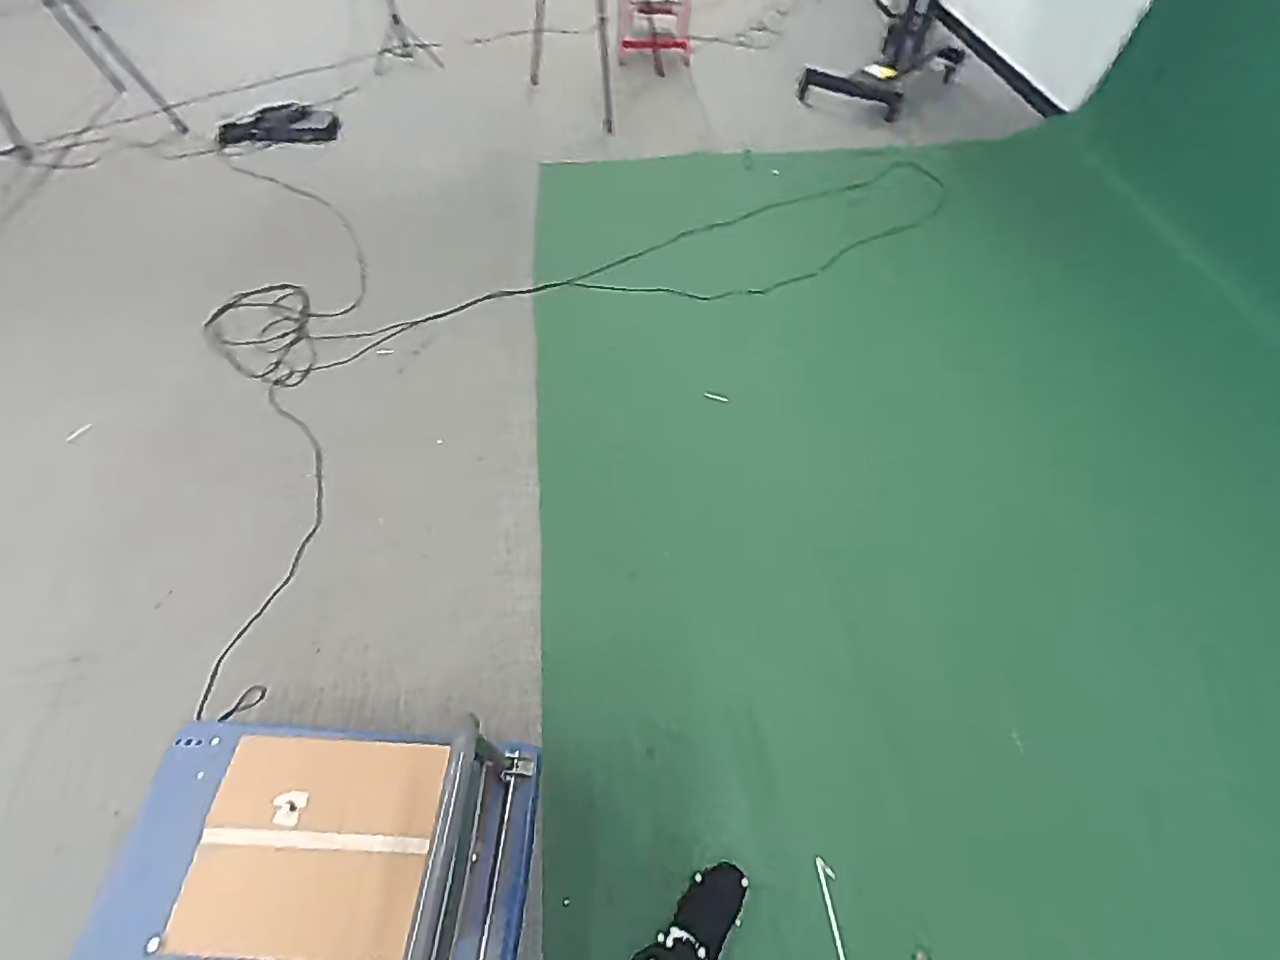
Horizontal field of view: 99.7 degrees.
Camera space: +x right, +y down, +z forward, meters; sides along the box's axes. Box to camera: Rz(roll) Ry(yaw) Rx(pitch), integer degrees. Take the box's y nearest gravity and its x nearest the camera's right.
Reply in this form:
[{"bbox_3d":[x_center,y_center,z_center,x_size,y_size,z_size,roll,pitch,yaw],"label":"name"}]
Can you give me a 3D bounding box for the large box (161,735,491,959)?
[{"bbox_3d":[-0.540,0.685,1.040,0.408,0.320,0.320,2,57,2],"label":"large box"}]
